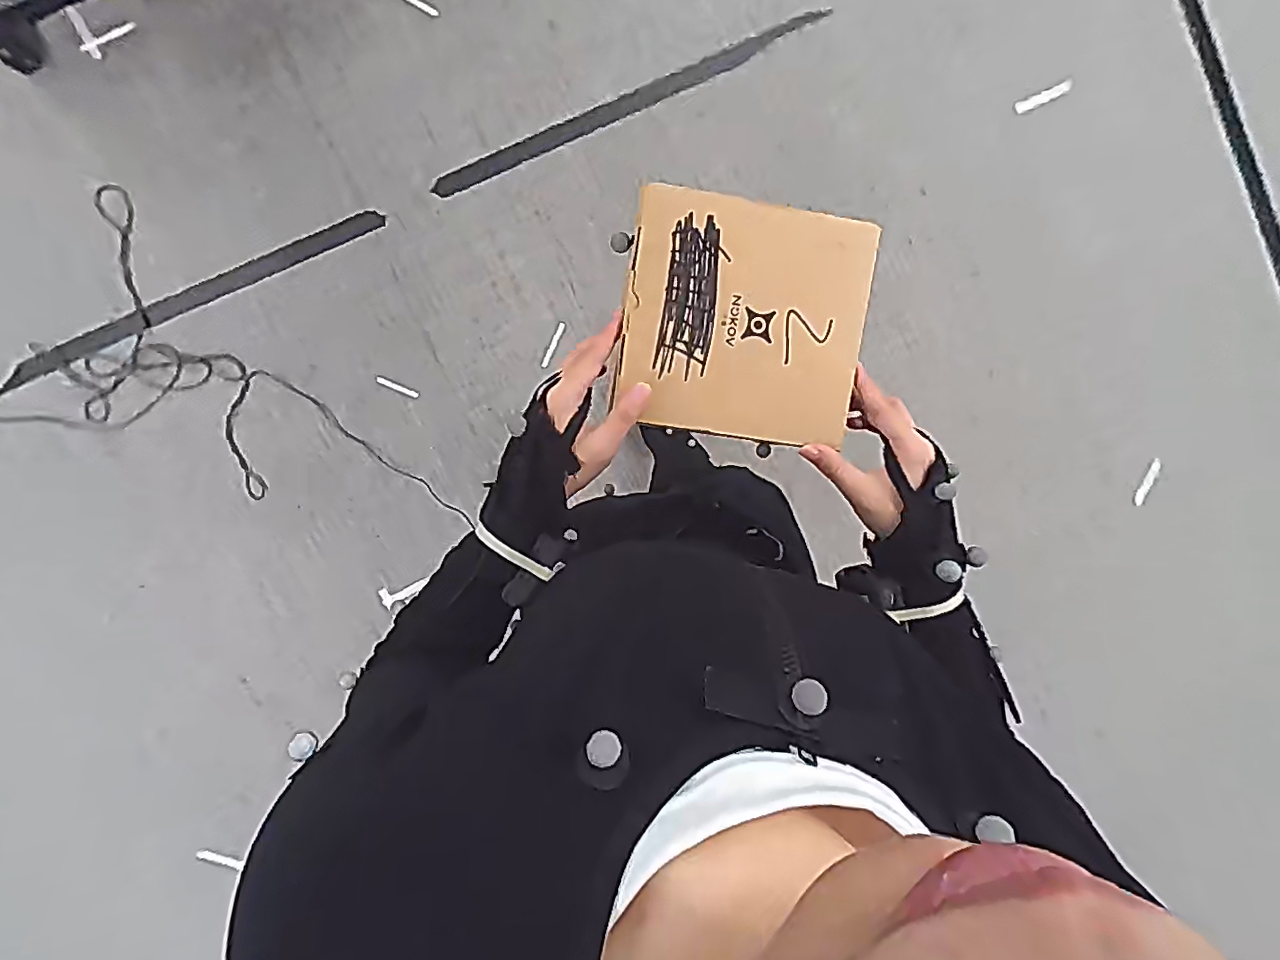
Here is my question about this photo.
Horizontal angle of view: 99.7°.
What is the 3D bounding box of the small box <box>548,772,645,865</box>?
[{"bbox_3d":[-0.093,0.828,1.254,0.168,0.176,0.179,-27,94,0],"label":"small box"}]
